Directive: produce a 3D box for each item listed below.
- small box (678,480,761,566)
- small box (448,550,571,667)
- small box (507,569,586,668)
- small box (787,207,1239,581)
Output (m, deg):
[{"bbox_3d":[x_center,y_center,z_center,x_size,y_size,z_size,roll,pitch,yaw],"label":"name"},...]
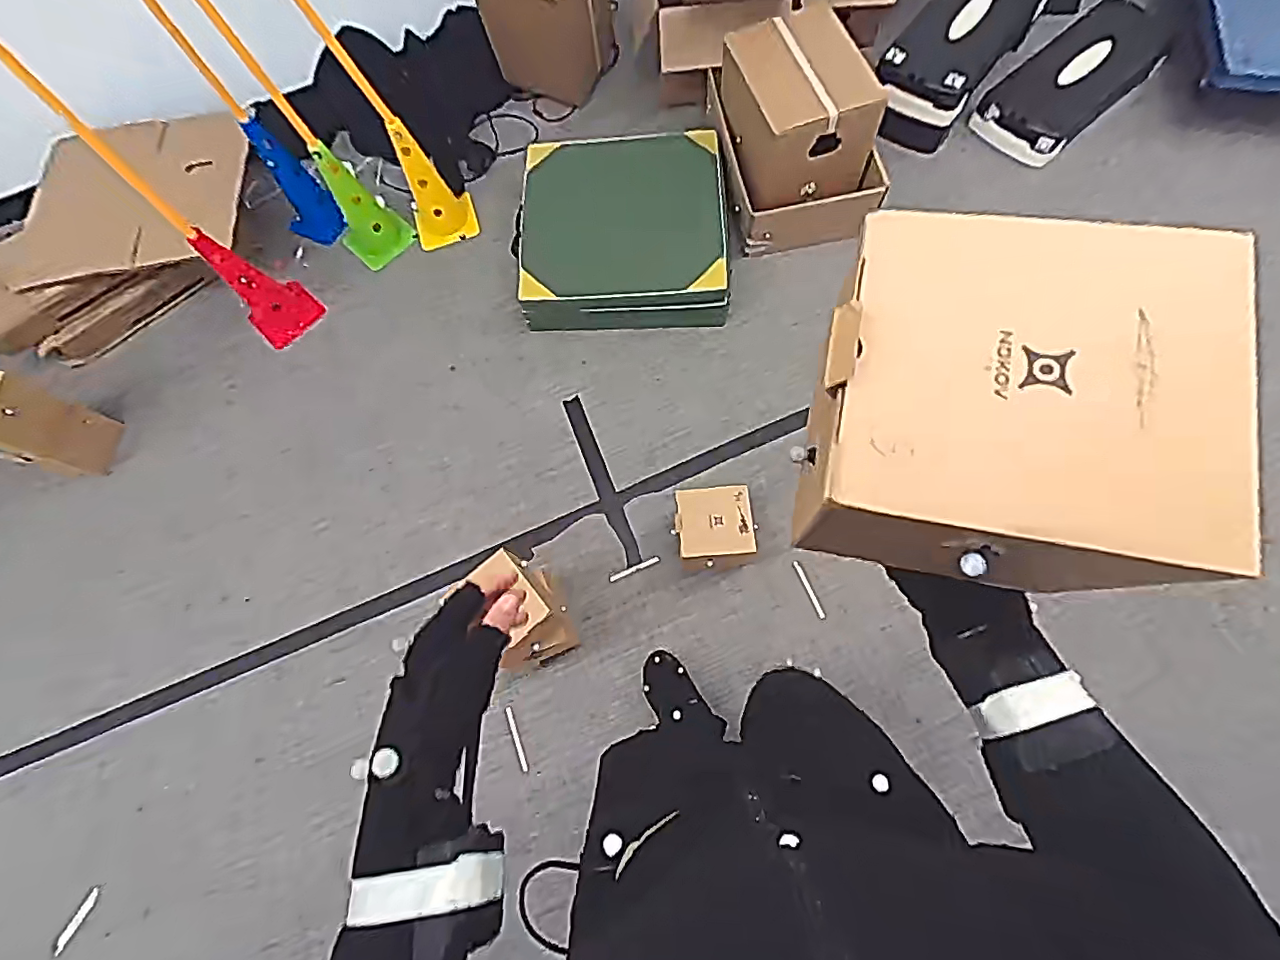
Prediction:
[{"bbox_3d":[0.192,0.111,1.344,0.179,0.176,0.168,-7,71,2],"label":"small box"},{"bbox_3d":[-0.271,0.278,1.159,0.168,0.176,0.179,-37,74,-5],"label":"small box"},{"bbox_3d":[-0.247,0.337,1.312,0.168,0.176,0.179,-25,70,-2],"label":"small box"},{"bbox_3d":[0.194,-0.036,0.334,0.179,0.176,0.168,10,79,13],"label":"small box"}]
